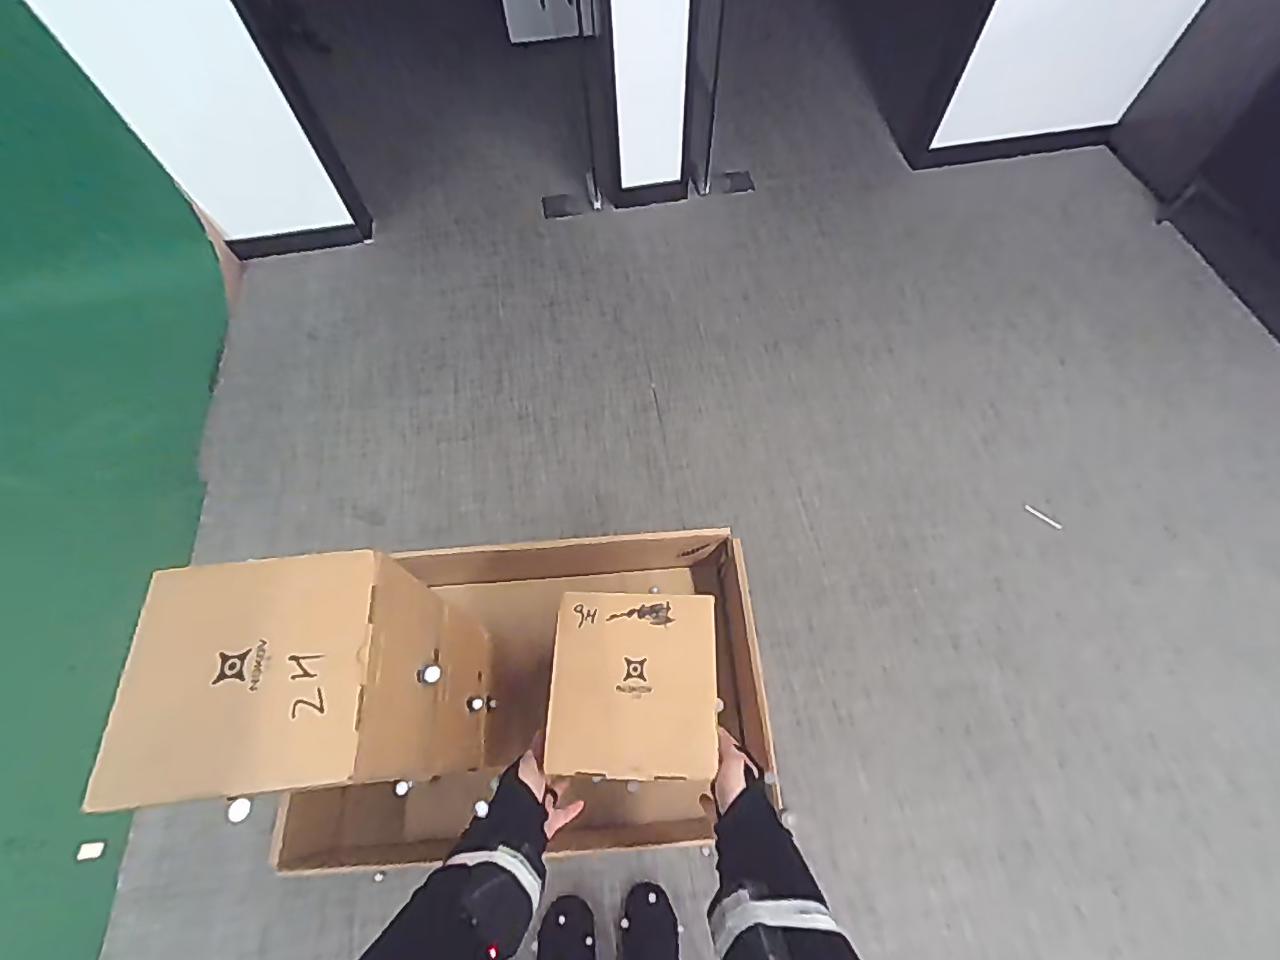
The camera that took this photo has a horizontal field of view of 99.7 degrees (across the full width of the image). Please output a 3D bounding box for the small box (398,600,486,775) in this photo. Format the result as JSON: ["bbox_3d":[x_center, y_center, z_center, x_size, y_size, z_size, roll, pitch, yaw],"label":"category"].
[{"bbox_3d":[-0.287,0.243,0.613,0.179,0.176,0.168,-4,63,-3],"label":"small box"}]

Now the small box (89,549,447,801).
[{"bbox_3d":[-0.284,0.170,0.465,0.179,0.176,0.168,-5,64,-3],"label":"small box"}]

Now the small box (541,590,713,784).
[{"bbox_3d":[-0.006,0.233,0.612,0.168,0.176,0.179,2,64,2],"label":"small box"}]
